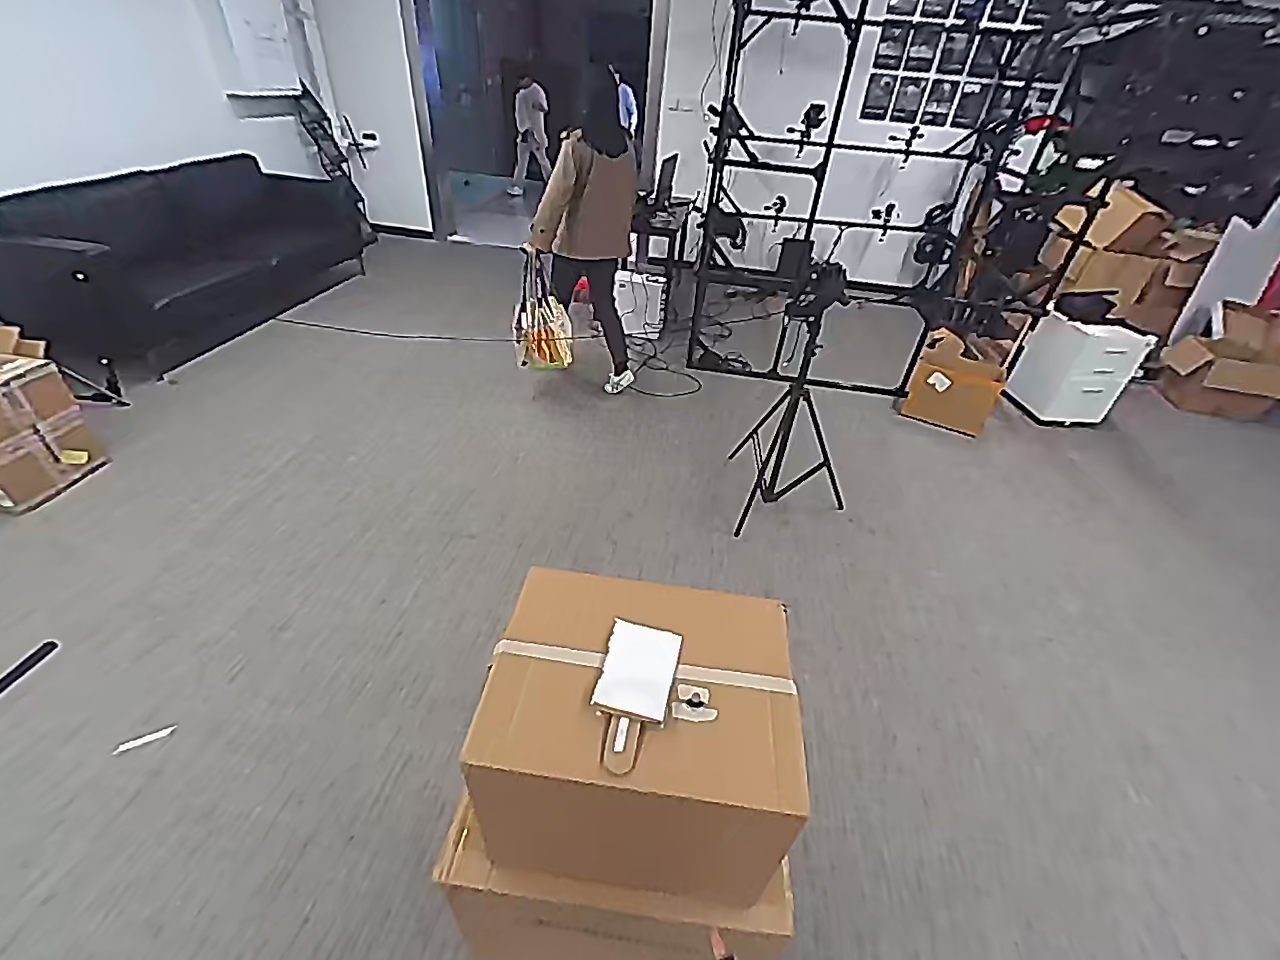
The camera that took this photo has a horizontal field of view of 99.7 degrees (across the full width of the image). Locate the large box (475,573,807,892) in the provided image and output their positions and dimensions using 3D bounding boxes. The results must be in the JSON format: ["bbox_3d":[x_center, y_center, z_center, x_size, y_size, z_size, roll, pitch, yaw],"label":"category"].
[{"bbox_3d":[-0.001,0.381,0.839,0.408,0.320,0.320,8,37,2],"label":"large box"}]
